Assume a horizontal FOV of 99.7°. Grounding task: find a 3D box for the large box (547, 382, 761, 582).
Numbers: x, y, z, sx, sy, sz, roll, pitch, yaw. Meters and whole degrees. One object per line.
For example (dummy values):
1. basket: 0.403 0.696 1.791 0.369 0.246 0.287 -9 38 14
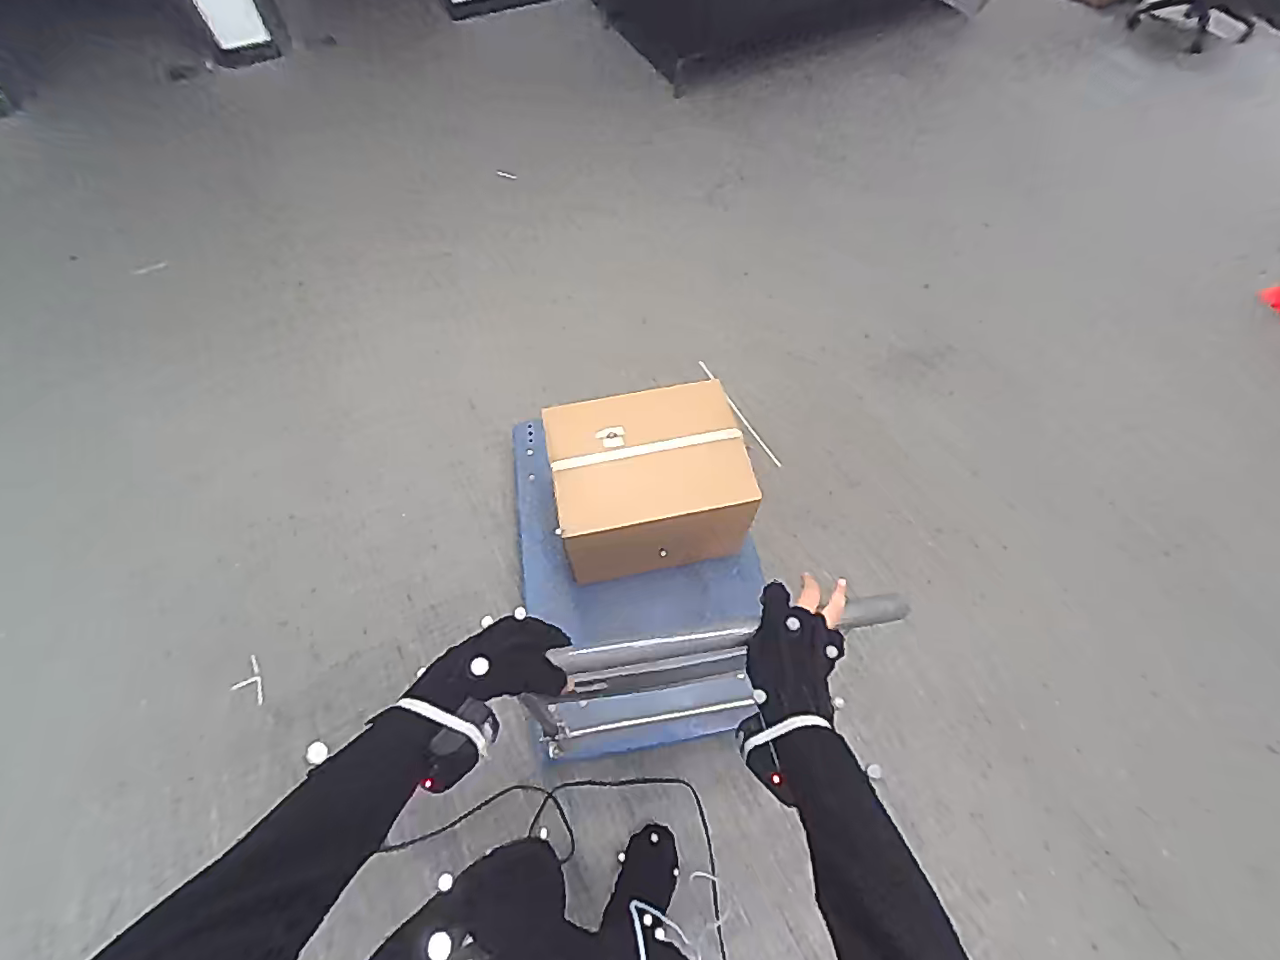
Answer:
1. large box: 0.022 0.015 1.265 0.408 0.320 0.320 -11 62 -6
